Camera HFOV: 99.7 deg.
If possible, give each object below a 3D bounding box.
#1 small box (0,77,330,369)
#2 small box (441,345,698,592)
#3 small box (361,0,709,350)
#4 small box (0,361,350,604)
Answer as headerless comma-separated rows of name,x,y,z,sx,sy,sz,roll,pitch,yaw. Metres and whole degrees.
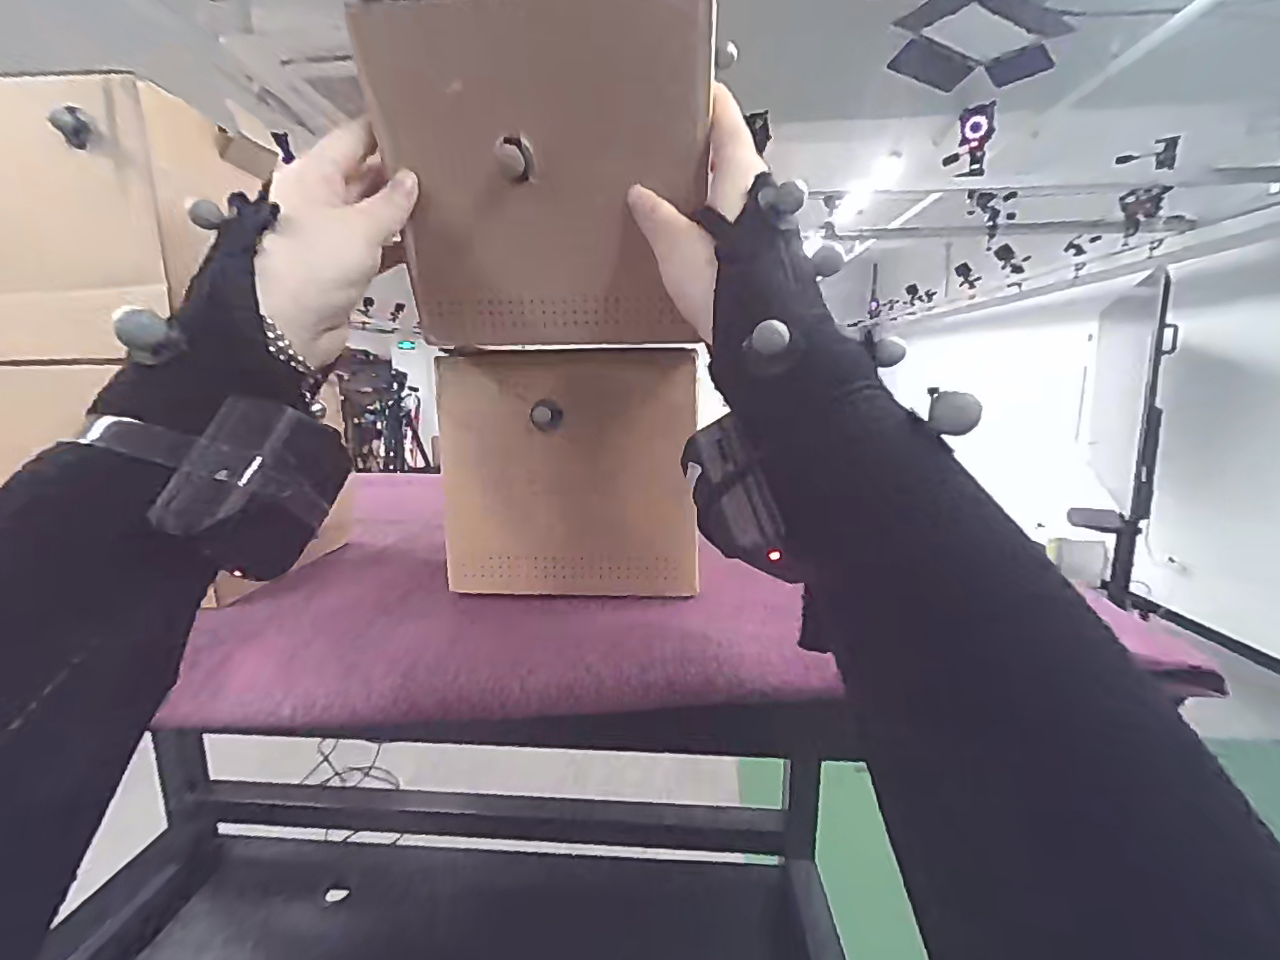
small box,-0.372,-0.167,0.415,0.179,0.176,0.168,0,9,1
small box,-0.042,-0.012,0.445,0.179,0.176,0.168,0,7,5
small box,-0.044,-0.191,0.367,0.179,0.176,0.168,0,30,5
small box,-0.365,-0.006,0.439,0.179,0.176,0.168,-1,9,3
